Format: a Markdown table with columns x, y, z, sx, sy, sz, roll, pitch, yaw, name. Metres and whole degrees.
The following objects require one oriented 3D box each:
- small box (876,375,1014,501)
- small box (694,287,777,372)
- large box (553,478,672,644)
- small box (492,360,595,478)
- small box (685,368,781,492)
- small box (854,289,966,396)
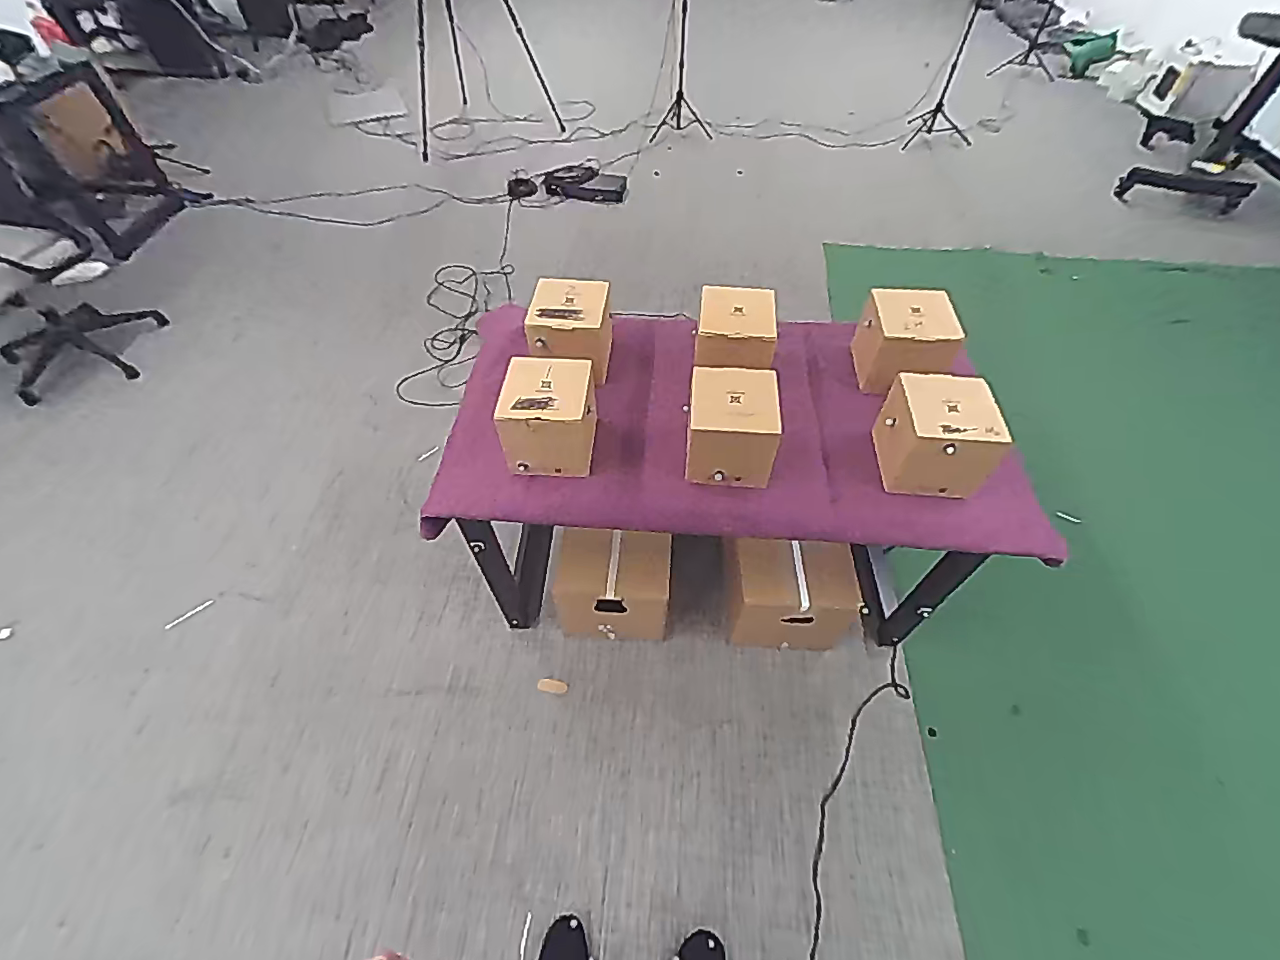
| x | y | z | sx | sy | sz | roll | pitch | yaw | name |
| --- | --- | --- | --- | --- | --- | --- | --- | --- | --- |
| 0.579 | -0.082 | 1.057 | 0.168 | 0.176 | 0.179 | 4 | 50 | 5 | small box |
| 0.214 | -0.315 | 1.243 | 0.168 | 0.176 | 0.179 | 5 | 54 | 4 | small box |
| -0.065 | 0.249 | 1.645 | 0.320 | 0.320 | 0.408 | 3 | 52 | 2 | large box |
| -0.183 | -0.121 | 1.093 | 0.168 | 0.176 | 0.179 | 3 | 51 | 2 | small box |
| 0.179 | -0.100 | 1.076 | 0.168 | 0.176 | 0.179 | 4 | 52 | 5 | small box |
| 0.600 | -0.310 | 1.230 | 0.168 | 0.176 | 0.179 | 3 | 54 | 5 | small box |
